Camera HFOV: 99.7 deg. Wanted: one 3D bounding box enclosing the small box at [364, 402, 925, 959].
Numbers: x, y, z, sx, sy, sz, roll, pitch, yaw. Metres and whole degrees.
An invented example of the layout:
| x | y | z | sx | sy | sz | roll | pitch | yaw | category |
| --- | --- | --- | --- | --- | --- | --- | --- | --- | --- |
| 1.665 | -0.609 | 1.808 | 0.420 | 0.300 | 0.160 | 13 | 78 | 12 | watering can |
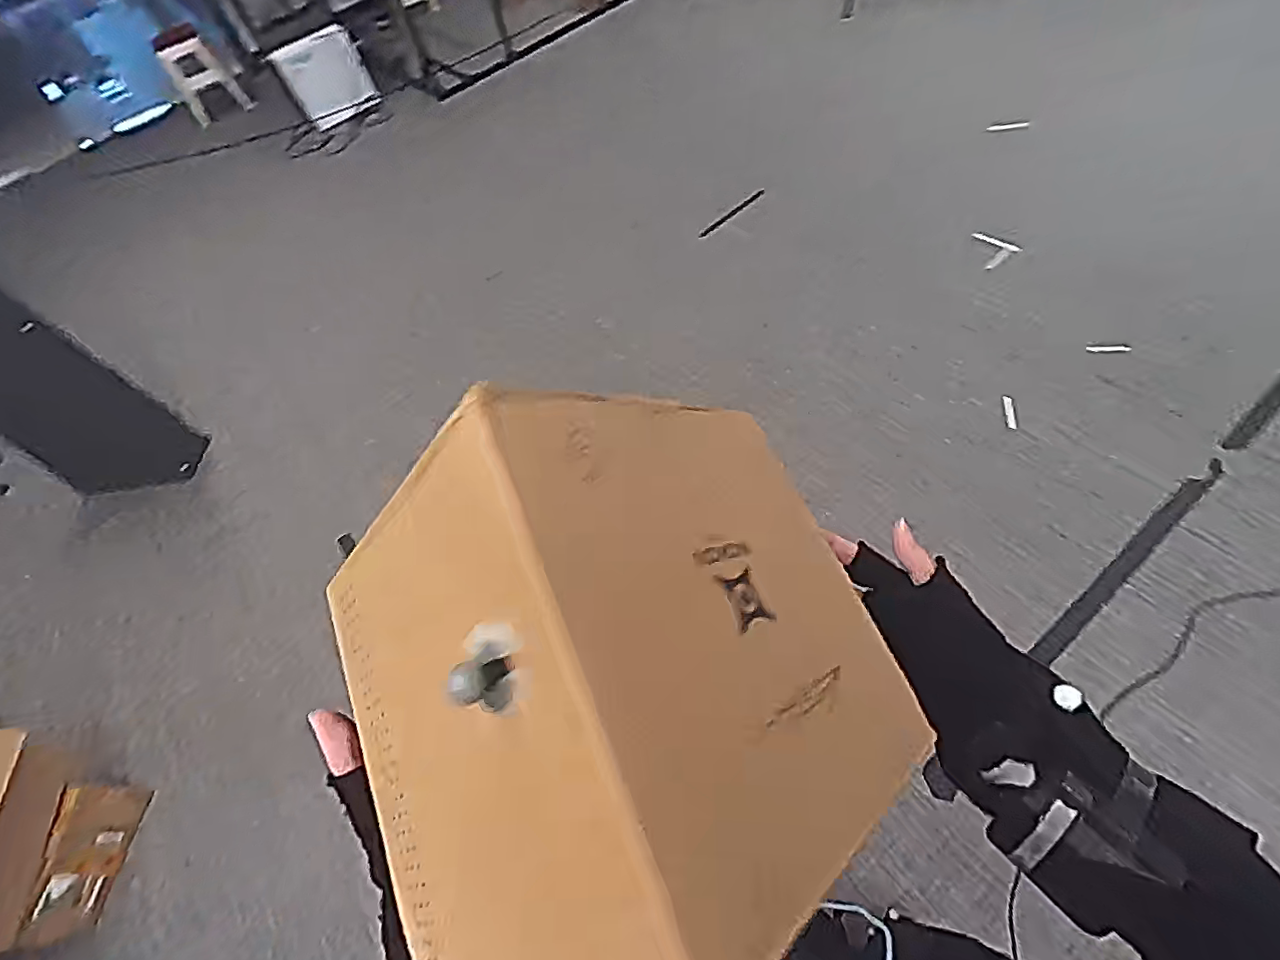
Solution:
| x | y | z | sx | sy | sz | roll | pitch | yaw | category |
| --- | --- | --- | --- | --- | --- | --- | --- | --- | --- |
| -0.009 | 0.088 | 0.260 | 0.176 | 0.168 | 0.179 | -39 | 66 | 35 | small box |
